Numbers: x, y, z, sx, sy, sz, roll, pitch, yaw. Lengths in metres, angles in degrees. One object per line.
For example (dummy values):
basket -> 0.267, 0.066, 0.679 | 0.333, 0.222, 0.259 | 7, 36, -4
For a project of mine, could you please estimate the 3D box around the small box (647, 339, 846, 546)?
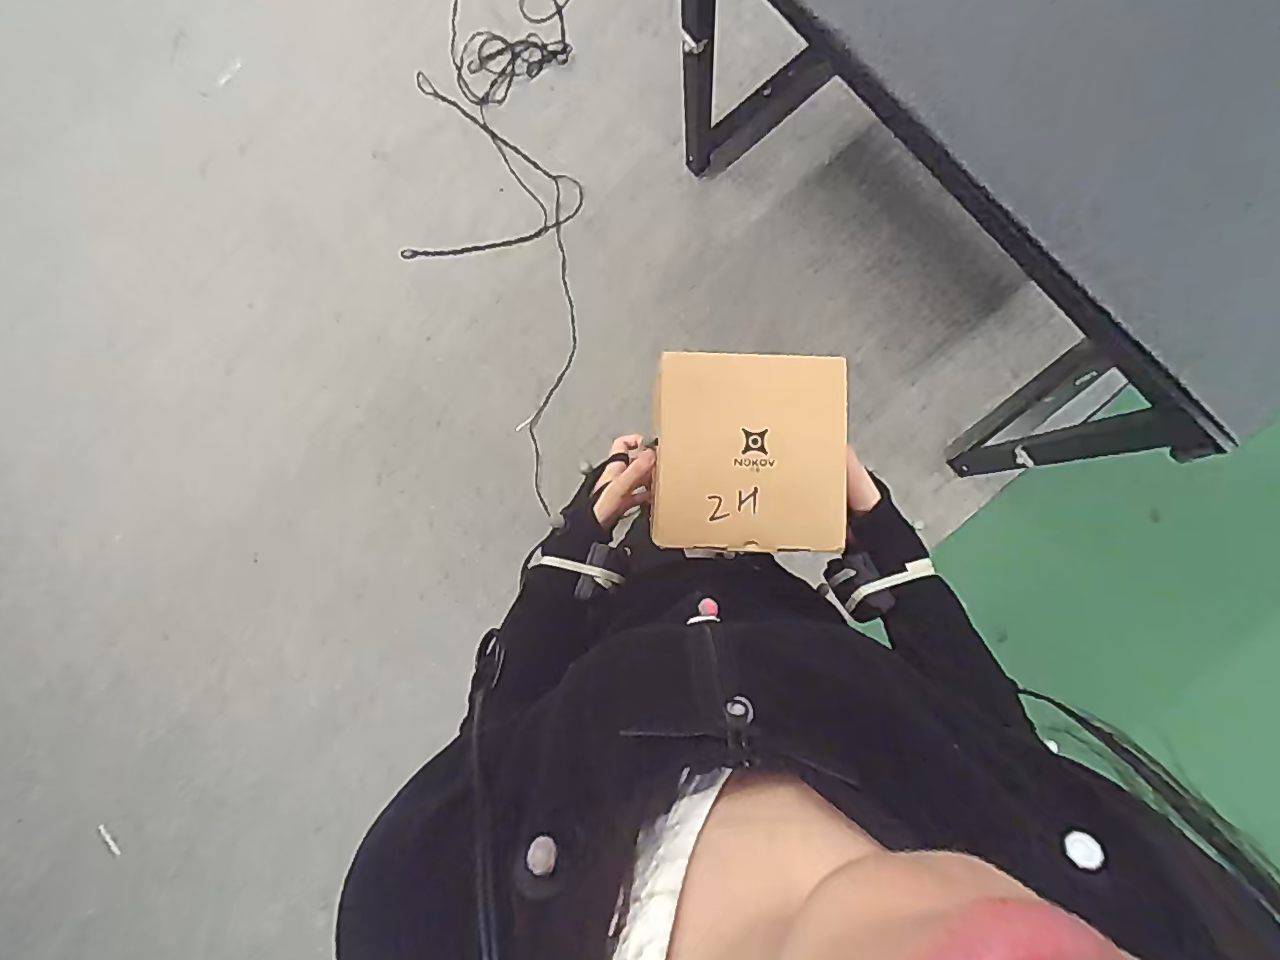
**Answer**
small box -> 0.093, -0.028, 0.544 | 0.168, 0.176, 0.179 | 2, 87, 0
